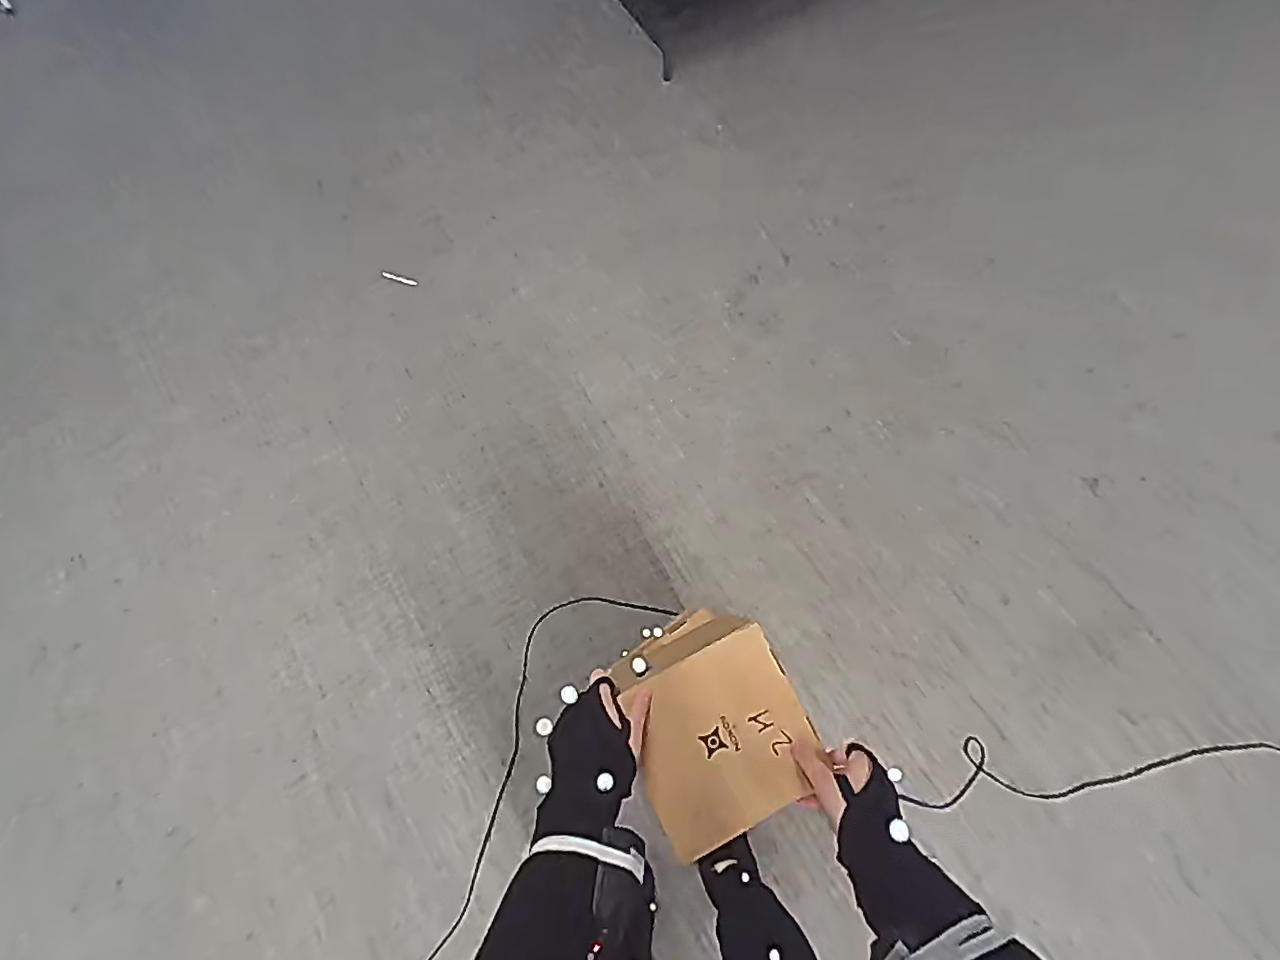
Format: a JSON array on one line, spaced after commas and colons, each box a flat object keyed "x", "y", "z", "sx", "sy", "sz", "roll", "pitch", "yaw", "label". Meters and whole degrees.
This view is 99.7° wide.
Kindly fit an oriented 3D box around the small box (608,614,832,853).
[{"x": 0.079, "y": 0.269, "z": 0.619, "sx": 0.179, "sy": 0.176, "sz": 0.168, "roll": -27, "pitch": 81, "yaw": -7, "label": "small box"}]

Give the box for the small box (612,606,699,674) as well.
[{"x": 0.072, "y": 0.343, "z": 0.953, "sx": 0.179, "sy": 0.176, "sz": 0.168, "roll": -35, "pitch": 77, "yaw": -8, "label": "small box"}]

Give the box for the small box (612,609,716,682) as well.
[{"x": 0.080, "y": 0.307, "z": 0.793, "sx": 0.168, "sy": 0.176, "sz": 0.179, "roll": -35, "pitch": 76, "yaw": -8, "label": "small box"}]
